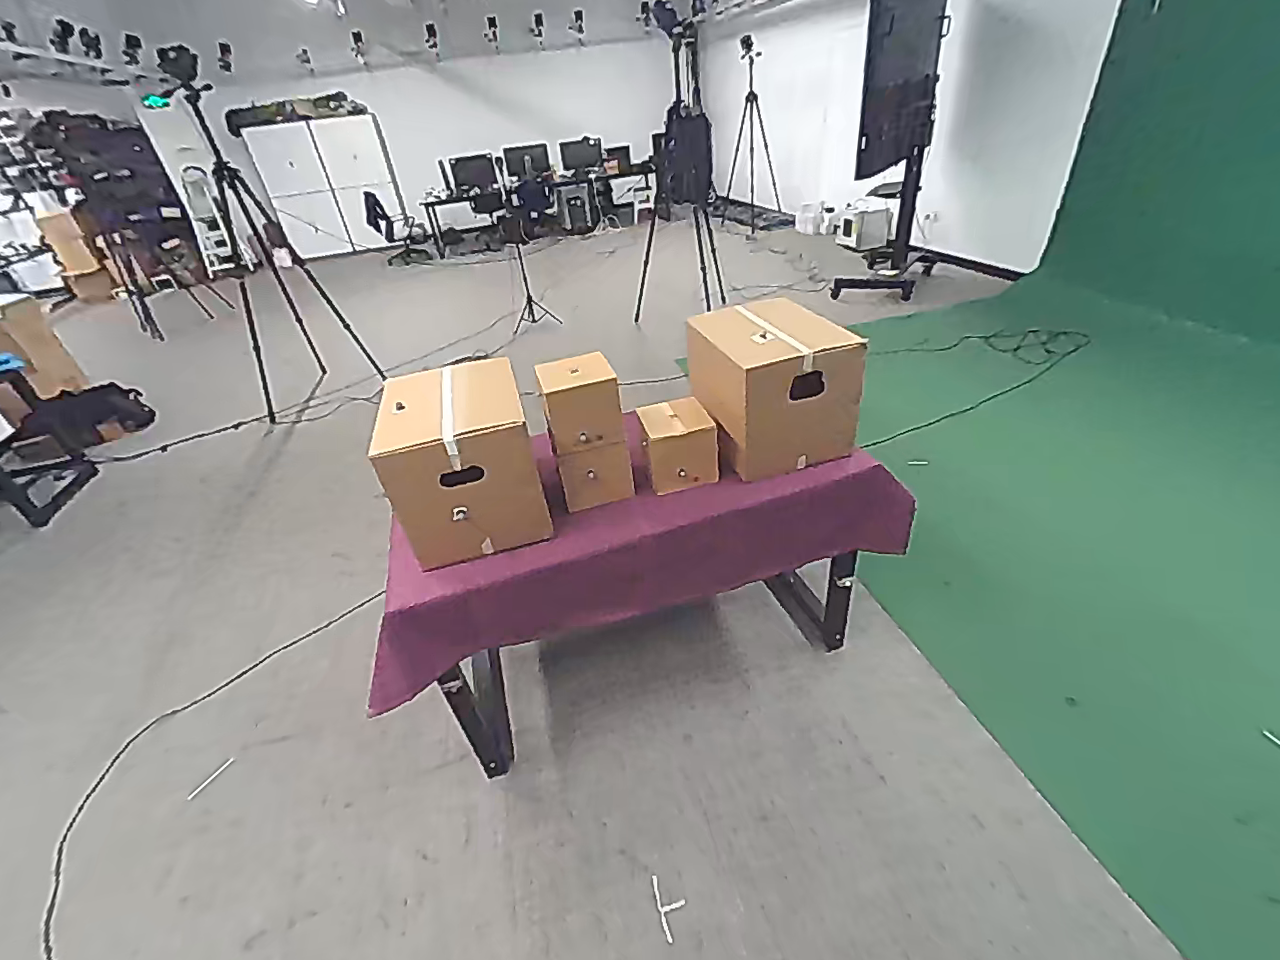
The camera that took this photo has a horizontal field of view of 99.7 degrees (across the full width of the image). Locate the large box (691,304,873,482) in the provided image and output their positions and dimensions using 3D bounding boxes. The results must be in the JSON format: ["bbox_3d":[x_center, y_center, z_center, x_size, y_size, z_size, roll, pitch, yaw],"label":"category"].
[{"bbox_3d":[0.353,-0.251,1.469,0.320,0.320,0.408,-14,36,-9],"label":"large box"}]
